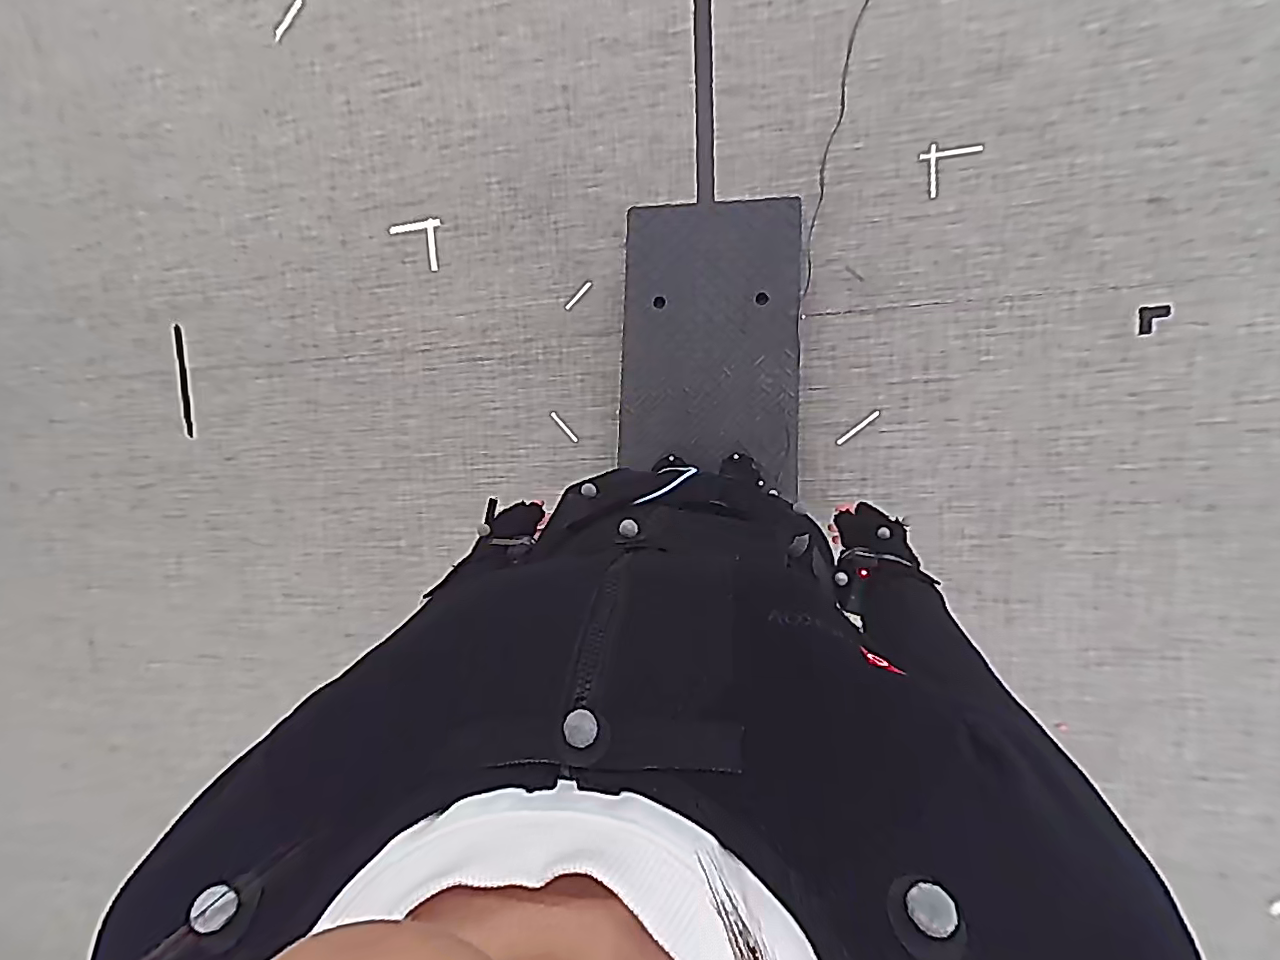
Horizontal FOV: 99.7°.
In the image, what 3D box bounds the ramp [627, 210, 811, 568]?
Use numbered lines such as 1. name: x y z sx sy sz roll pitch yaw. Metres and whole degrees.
1. ramp: 0.210 -0.263 1.506 0.509 0.206 0.991 -2 92 12
